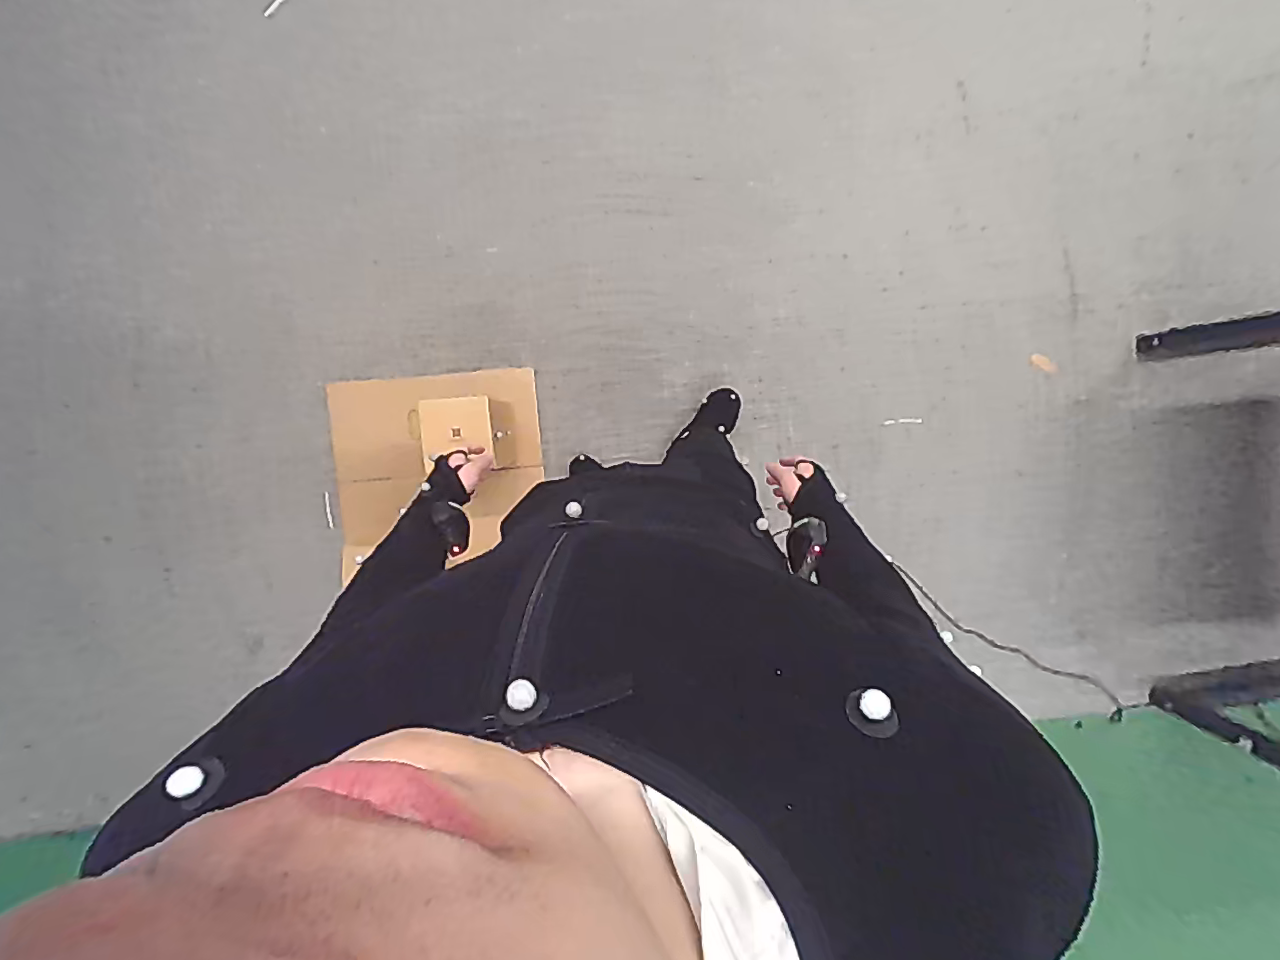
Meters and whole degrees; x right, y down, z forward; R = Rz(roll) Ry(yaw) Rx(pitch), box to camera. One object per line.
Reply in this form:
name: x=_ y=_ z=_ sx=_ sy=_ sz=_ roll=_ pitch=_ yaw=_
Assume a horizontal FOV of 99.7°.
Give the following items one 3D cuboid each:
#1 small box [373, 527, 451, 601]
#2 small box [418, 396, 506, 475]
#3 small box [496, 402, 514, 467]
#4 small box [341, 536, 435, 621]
small box: x=-0.644 y=0.231 z=1.535 sx=0.168 sy=0.176 sz=0.179 roll=3 pitch=95 yaw=-2
small box: x=-0.439 y=-0.112 z=1.353 sx=0.168 sy=0.176 sz=0.179 roll=-5 pitch=97 yaw=-3
small box: x=-0.453 y=-0.125 z=1.514 sx=0.168 sy=0.176 sz=0.179 roll=-4 pitch=95 yaw=-2
small box: x=-0.631 y=0.242 z=1.369 sx=0.168 sy=0.176 sz=0.179 roll=3 pitch=95 yaw=-2
